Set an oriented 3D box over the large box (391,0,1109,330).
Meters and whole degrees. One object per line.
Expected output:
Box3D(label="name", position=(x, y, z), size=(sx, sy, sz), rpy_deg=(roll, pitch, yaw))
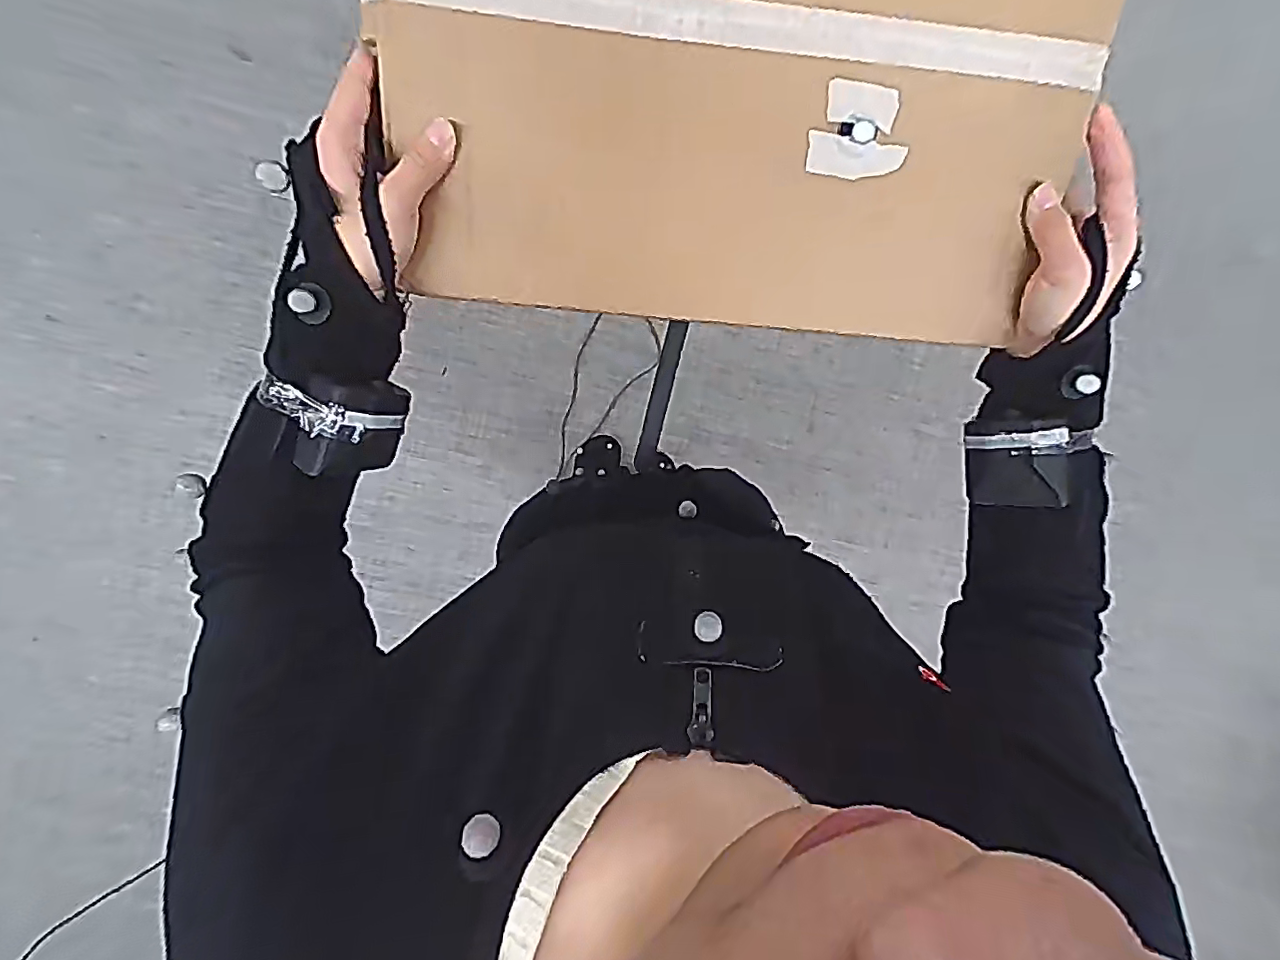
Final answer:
Box3D(label="large box", position=(0.054, -0.309, 0.440), size=(0.408, 0.320, 0.320), rpy_deg=(4, 112, -5))
